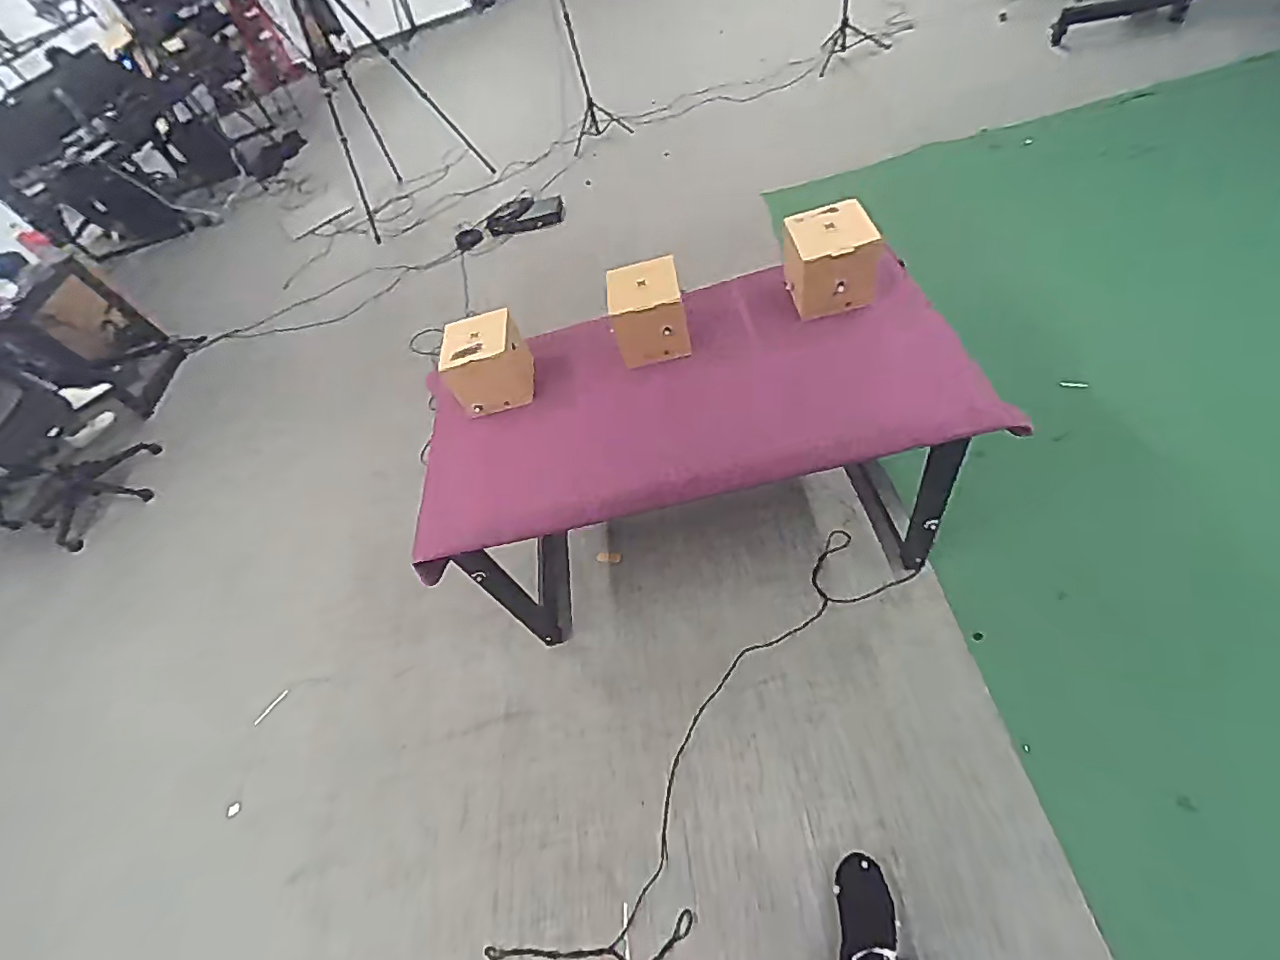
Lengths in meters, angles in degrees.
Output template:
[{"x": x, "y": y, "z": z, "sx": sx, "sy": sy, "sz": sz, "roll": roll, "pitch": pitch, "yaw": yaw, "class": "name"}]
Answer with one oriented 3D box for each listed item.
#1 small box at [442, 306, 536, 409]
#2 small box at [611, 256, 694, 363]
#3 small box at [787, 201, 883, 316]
[{"x": -0.365, "y": -0.294, "z": 1.341, "sx": 0.168, "sy": 0.176, "sz": 0.179, "roll": -12, "pitch": 52, "yaw": 7, "class": "small box"}, {"x": 0.032, "y": -0.403, "z": 1.305, "sx": 0.168, "sy": 0.176, "sz": 0.179, "roll": -10, "pitch": 53, "yaw": 9, "class": "small box"}, {"x": 0.443, "y": -0.500, "z": 1.248, "sx": 0.168, "sy": 0.176, "sz": 0.179, "roll": -12, "pitch": 55, "yaw": 9, "class": "small box"}]
